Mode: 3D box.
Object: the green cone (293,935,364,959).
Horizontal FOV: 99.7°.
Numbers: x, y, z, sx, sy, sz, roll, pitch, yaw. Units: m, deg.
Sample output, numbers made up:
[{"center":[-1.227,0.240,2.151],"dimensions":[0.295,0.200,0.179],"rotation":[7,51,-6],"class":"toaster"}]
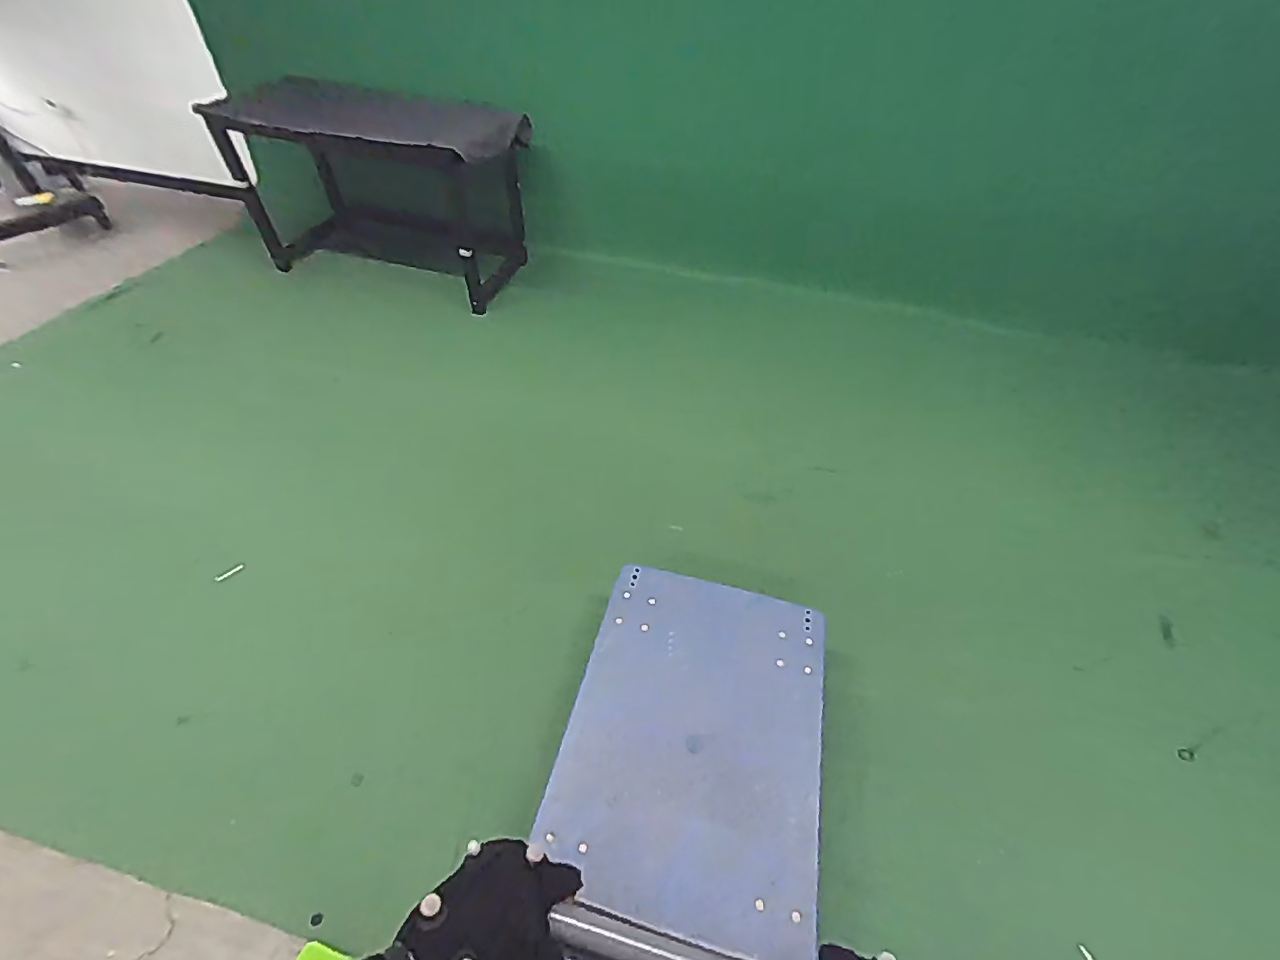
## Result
[{"center":[-0.607,0.900,0.898],"dimensions":[0.202,0.368,0.200],"rotation":[16,48,11],"class":"green cone"}]
